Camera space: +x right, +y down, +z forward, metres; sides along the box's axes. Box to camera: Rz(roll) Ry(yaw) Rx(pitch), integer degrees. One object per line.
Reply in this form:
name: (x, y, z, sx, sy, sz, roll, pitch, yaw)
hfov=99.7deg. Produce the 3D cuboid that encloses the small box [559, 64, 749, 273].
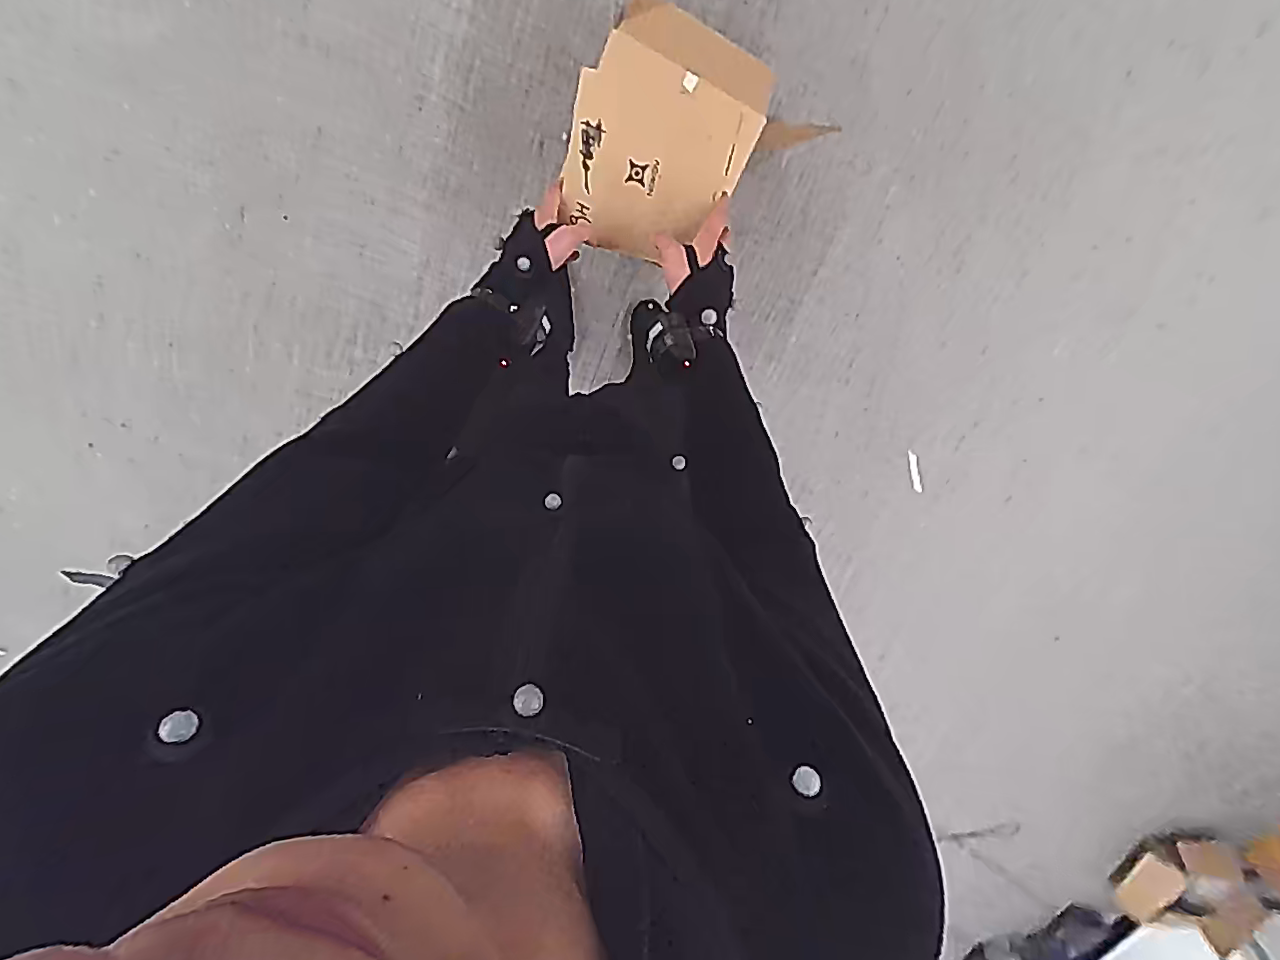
small box: (0.014, -0.367, 0.655, 0.179, 0.176, 0.168, 14, 117, -3)
